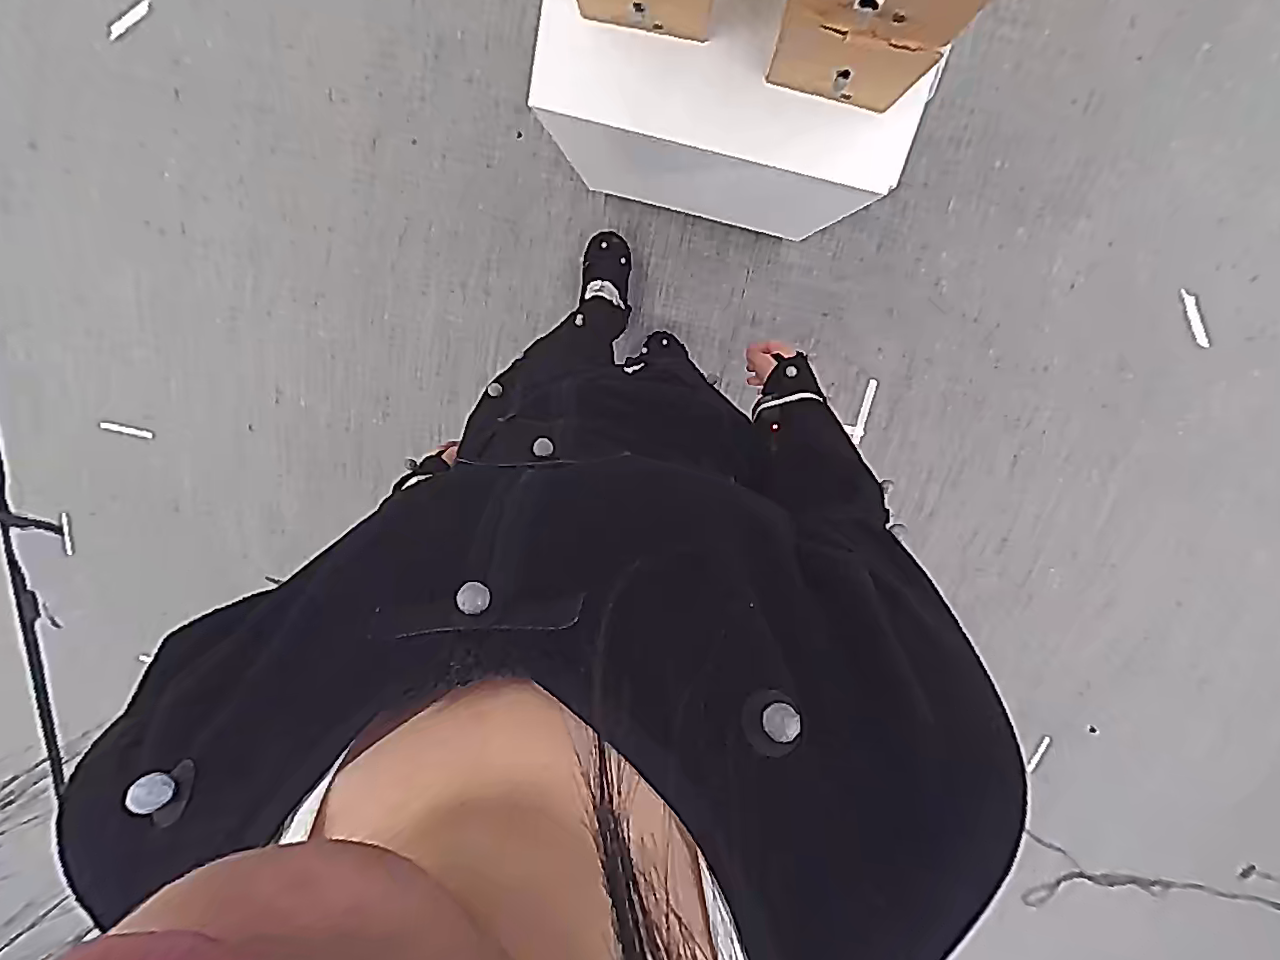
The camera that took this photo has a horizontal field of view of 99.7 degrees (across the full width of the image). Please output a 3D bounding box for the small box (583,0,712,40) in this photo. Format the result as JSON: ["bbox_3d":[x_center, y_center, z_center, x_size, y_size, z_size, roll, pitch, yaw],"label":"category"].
[{"bbox_3d":[0.015,-0.638,0.594,0.168,0.176,0.179,11,108,0],"label":"small box"}]

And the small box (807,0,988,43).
[{"bbox_3d":[0.250,-0.519,0.448,0.168,0.176,0.179,15,108,0],"label":"small box"}]

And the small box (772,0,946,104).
[{"bbox_3d":[0.257,-0.559,0.605,0.168,0.176,0.179,14,109,-1],"label":"small box"}]
